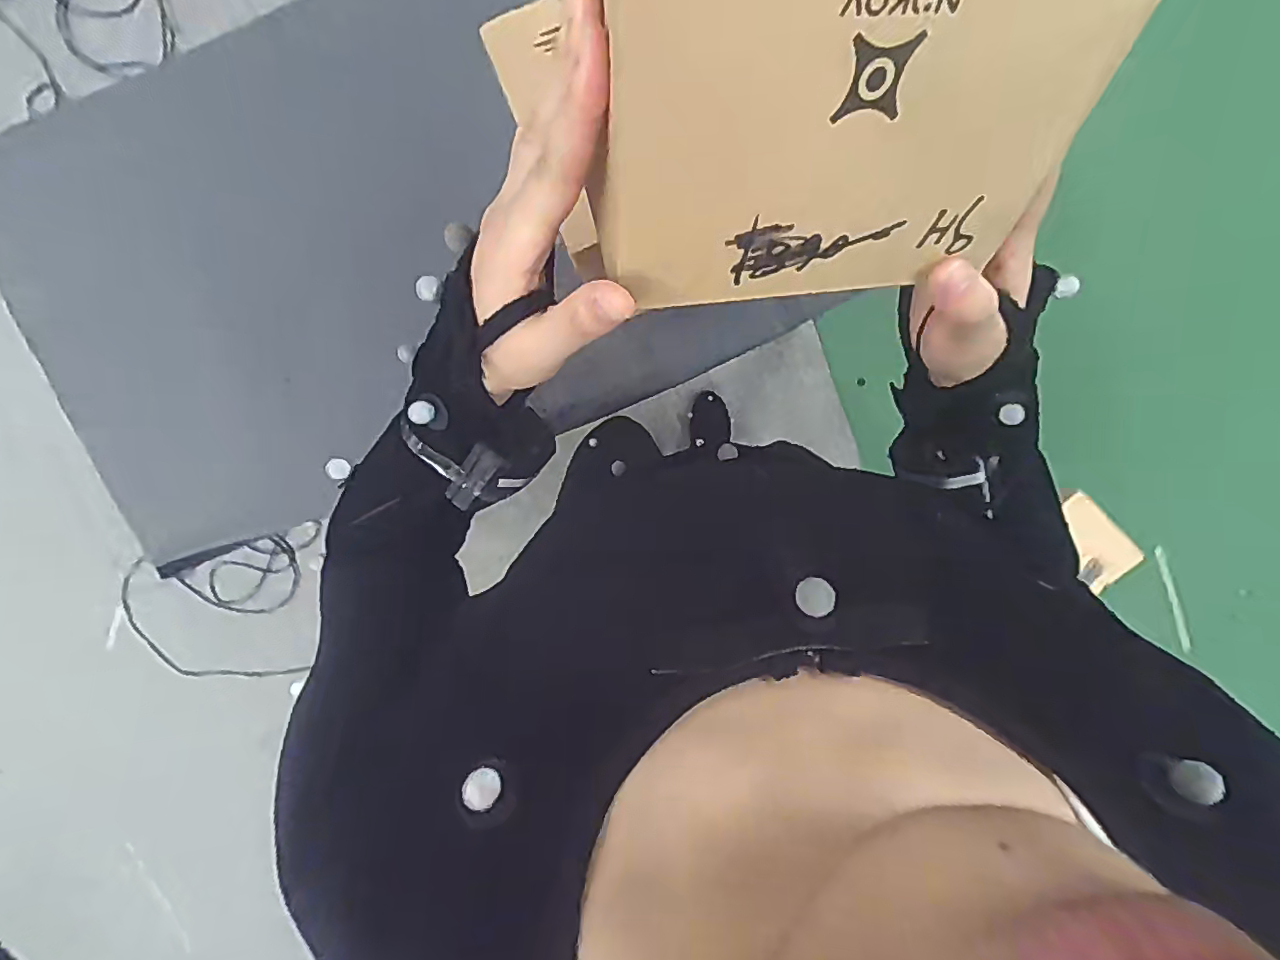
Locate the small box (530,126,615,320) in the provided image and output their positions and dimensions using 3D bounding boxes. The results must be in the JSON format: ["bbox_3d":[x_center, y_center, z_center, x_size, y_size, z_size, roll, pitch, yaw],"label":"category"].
[{"bbox_3d":[-0.001,-0.300,0.626,0.168,0.176,0.179,-22,94,5],"label":"small box"}]

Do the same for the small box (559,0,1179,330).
[{"bbox_3d":[0.057,-0.184,0.199,0.168,0.179,0.176,-7,56,-8],"label":"small box"}]

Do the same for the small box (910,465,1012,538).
[{"bbox_3d":[0.803,0.056,1.369,0.179,0.176,0.168,-6,97,3],"label":"small box"}]

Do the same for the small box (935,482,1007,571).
[{"bbox_3d":[0.802,0.108,1.212,0.179,0.176,0.168,15,99,0],"label":"small box"}]

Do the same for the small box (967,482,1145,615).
[{"bbox_3d":[0.791,0.122,1.048,0.179,0.176,0.168,45,98,-2],"label":"small box"}]
